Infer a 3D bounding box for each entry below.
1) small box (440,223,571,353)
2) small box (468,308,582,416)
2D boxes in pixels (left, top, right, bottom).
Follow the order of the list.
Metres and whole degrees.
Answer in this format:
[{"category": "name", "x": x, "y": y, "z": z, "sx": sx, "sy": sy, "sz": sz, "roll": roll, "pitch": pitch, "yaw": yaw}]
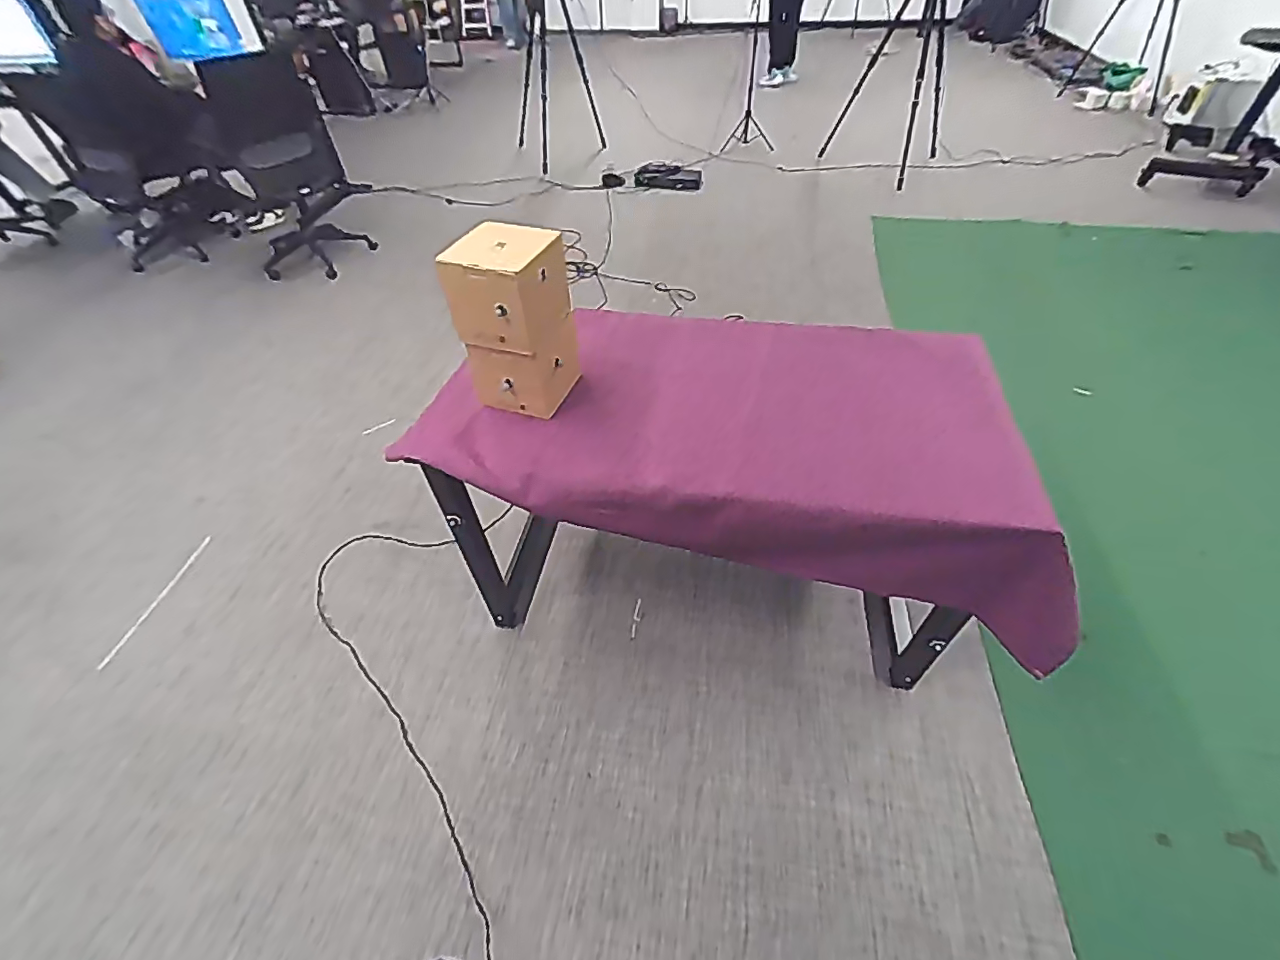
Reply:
[{"category": "small box", "x": -0.243, "y": -0.366, "z": 1.035, "sx": 0.168, "sy": 0.176, "sz": 0.179, "roll": 15, "pitch": 49, "yaw": 15}, {"category": "small box", "x": -0.234, "y": -0.262, "z": 1.161, "sx": 0.168, "sy": 0.176, "sz": 0.179, "roll": 14, "pitch": 50, "yaw": 14}]
